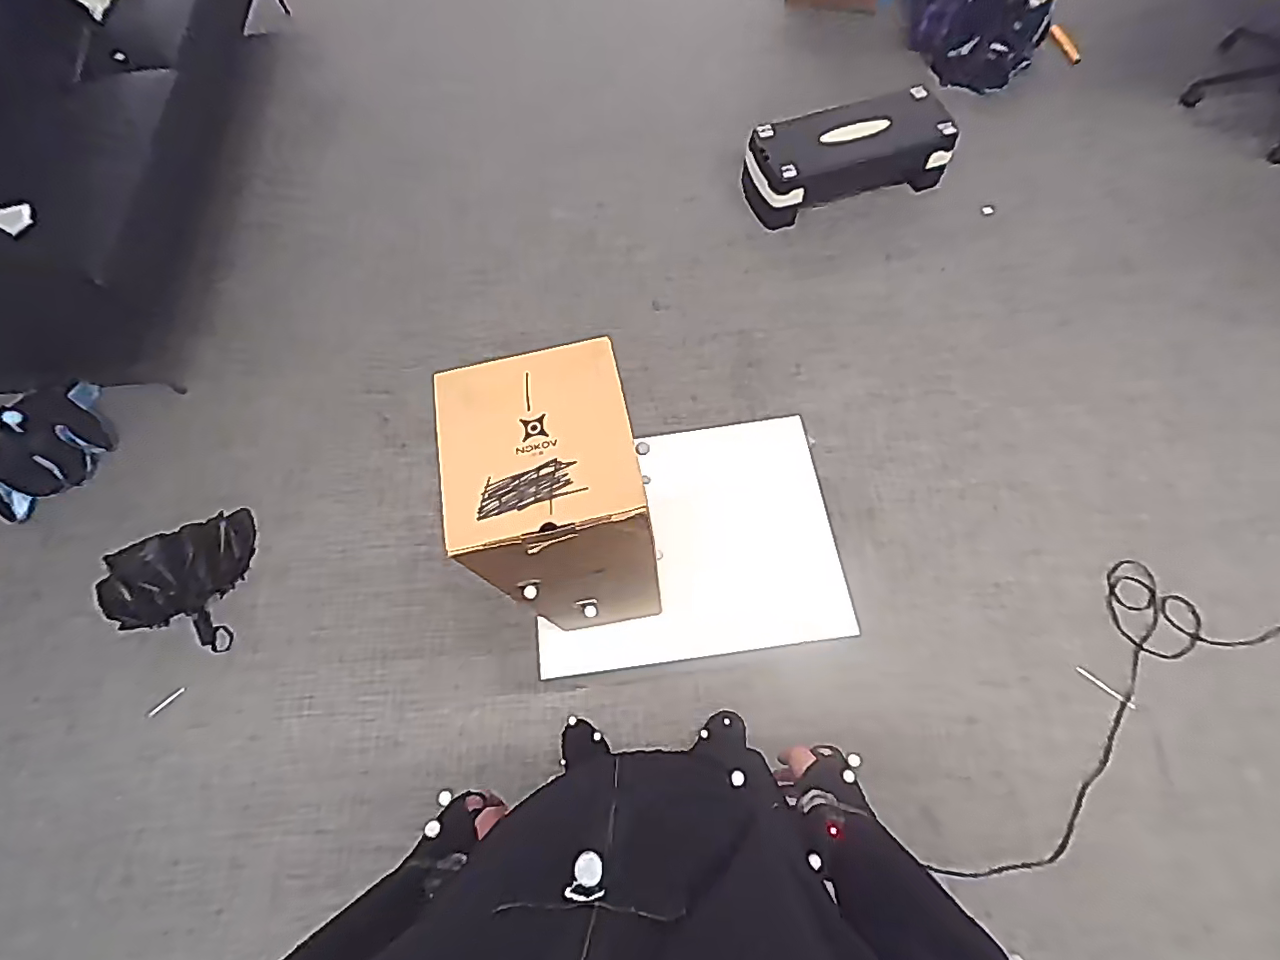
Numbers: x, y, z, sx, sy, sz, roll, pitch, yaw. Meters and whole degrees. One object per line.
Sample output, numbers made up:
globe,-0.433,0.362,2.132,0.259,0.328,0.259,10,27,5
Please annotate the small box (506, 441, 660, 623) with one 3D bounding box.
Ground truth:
small box,-0.072,0.069,0.684,0.168,0.176,0.179,-12,67,0

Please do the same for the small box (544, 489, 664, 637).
small box,-0.058,0.132,0.835,0.168,0.176,0.179,-10,67,0

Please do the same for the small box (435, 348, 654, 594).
small box,-0.084,0.004,0.533,0.168,0.176,0.179,-13,65,-1
